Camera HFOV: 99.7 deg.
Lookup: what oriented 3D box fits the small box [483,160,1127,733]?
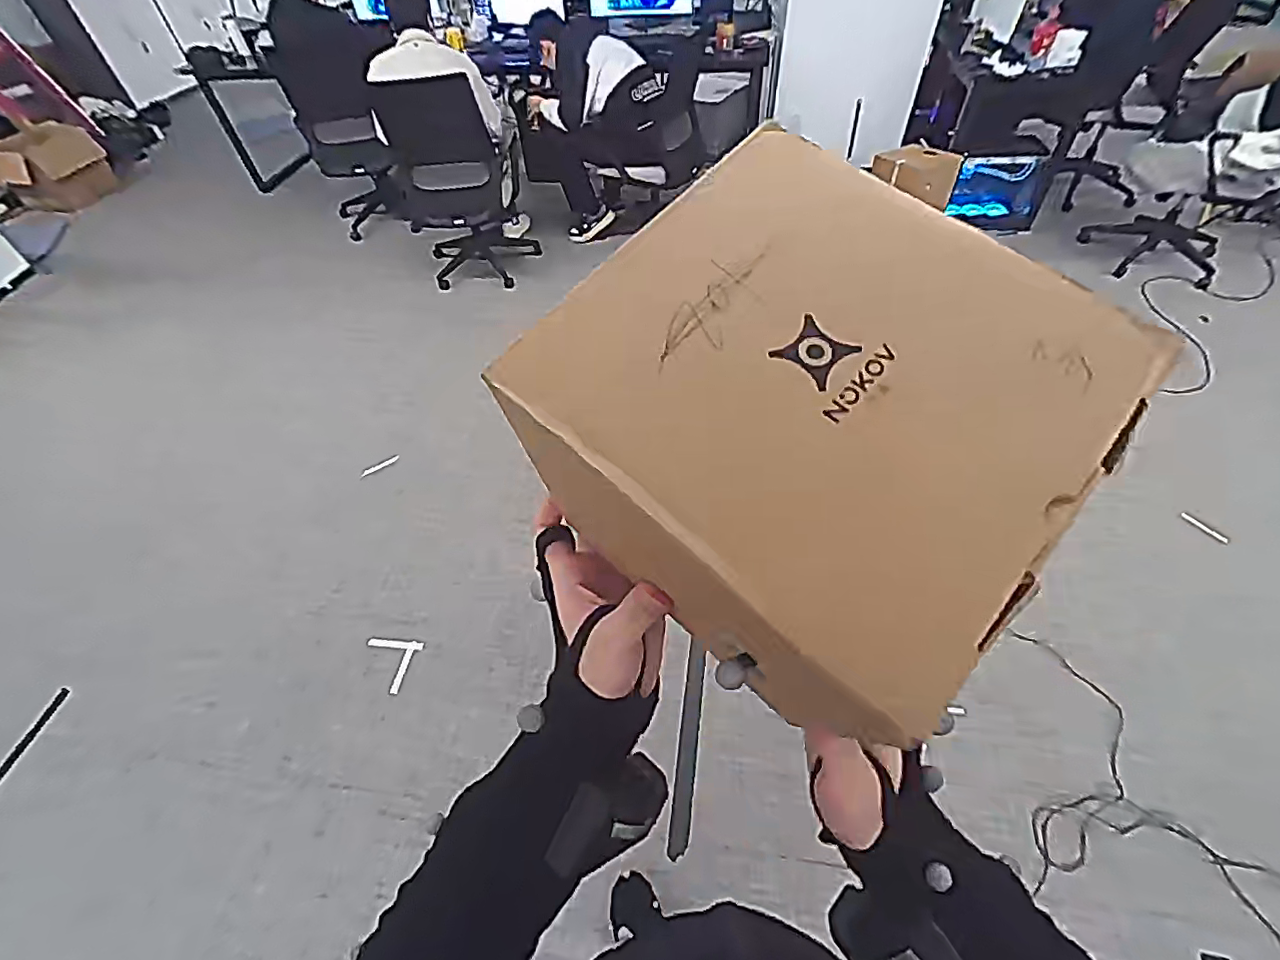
[{"bbox_3d":[0.062,-0.005,0.271,0.179,0.176,0.168,39,74,18],"label":"small box"}]
